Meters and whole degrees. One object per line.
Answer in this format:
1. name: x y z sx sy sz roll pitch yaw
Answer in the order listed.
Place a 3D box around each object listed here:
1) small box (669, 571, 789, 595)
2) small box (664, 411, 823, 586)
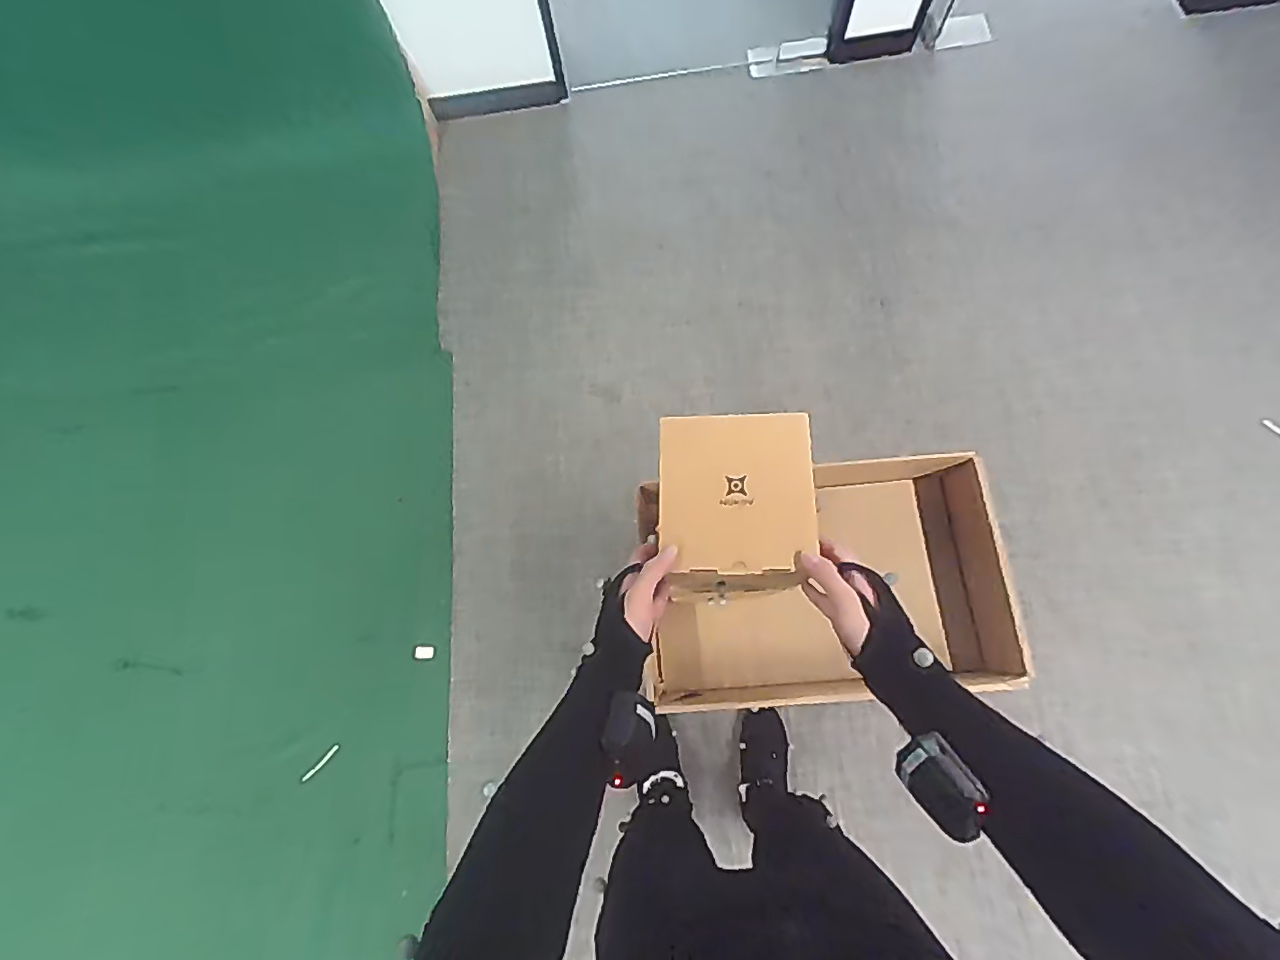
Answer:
1. small box: 0.127 0.084 0.836 0.168 0.176 0.179 -2 75 5
2. small box: 0.113 0.031 0.654 0.168 0.176 0.179 -1 74 5
